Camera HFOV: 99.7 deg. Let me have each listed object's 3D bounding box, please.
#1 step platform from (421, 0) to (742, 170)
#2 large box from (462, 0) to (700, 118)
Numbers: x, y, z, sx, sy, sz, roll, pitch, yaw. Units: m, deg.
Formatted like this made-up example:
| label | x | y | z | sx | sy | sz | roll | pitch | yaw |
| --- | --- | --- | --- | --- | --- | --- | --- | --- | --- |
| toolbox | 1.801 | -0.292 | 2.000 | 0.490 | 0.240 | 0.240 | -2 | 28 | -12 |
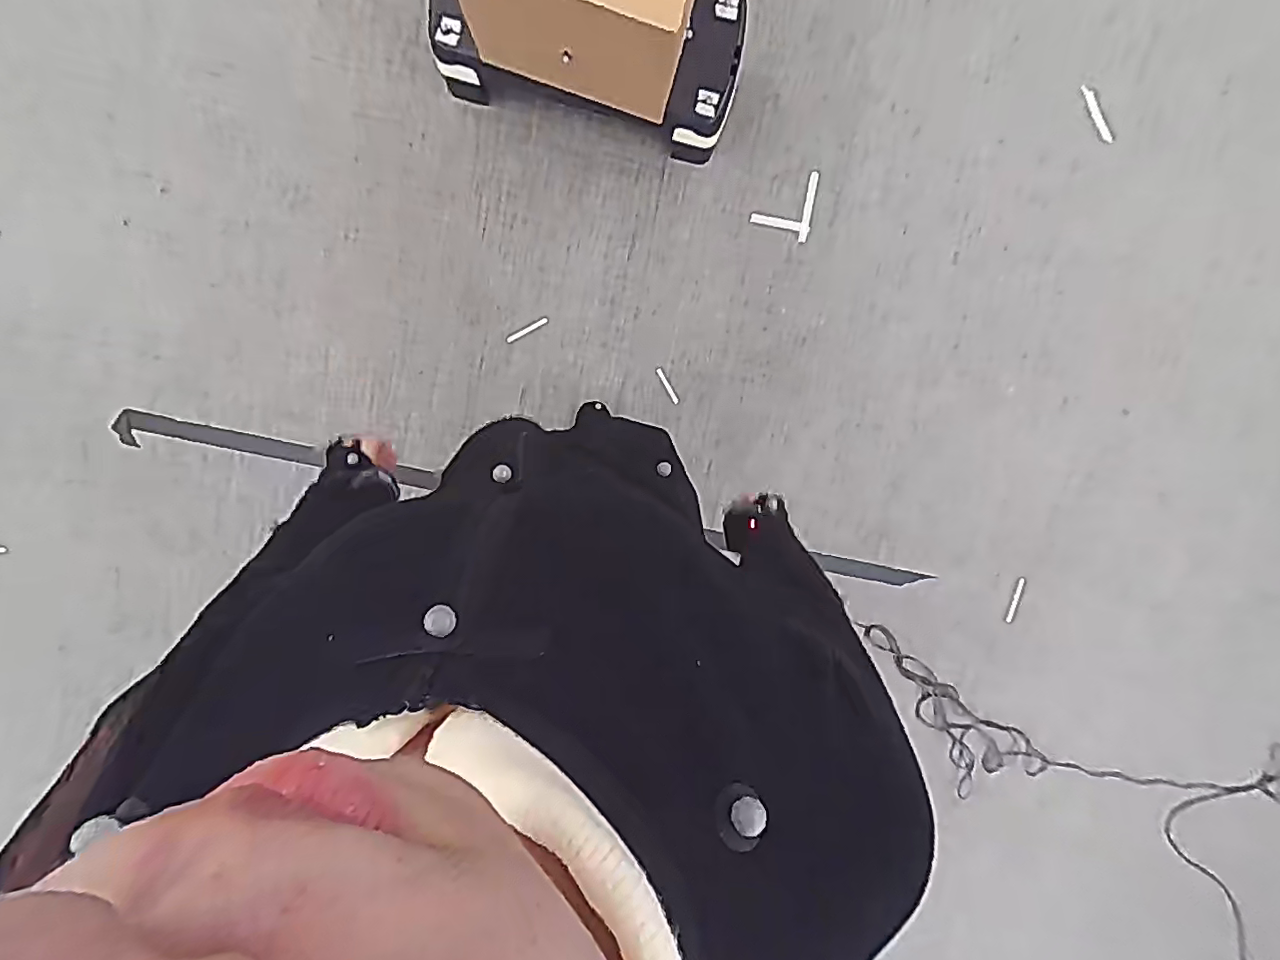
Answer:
| label | x | y | z | sx | sy | sz | roll | pitch | yaw |
| --- | --- | --- | --- | --- | --- | --- | --- | --- | --- |
| step platform | -0.122 | -0.984 | 1.219 | 0.684 | 0.204 | 0.286 | 18 | 98 | -5 |
| large box | -0.084 | -0.943 | 0.985 | 0.408 | 0.320 | 0.320 | 16 | 97 | -4 |
